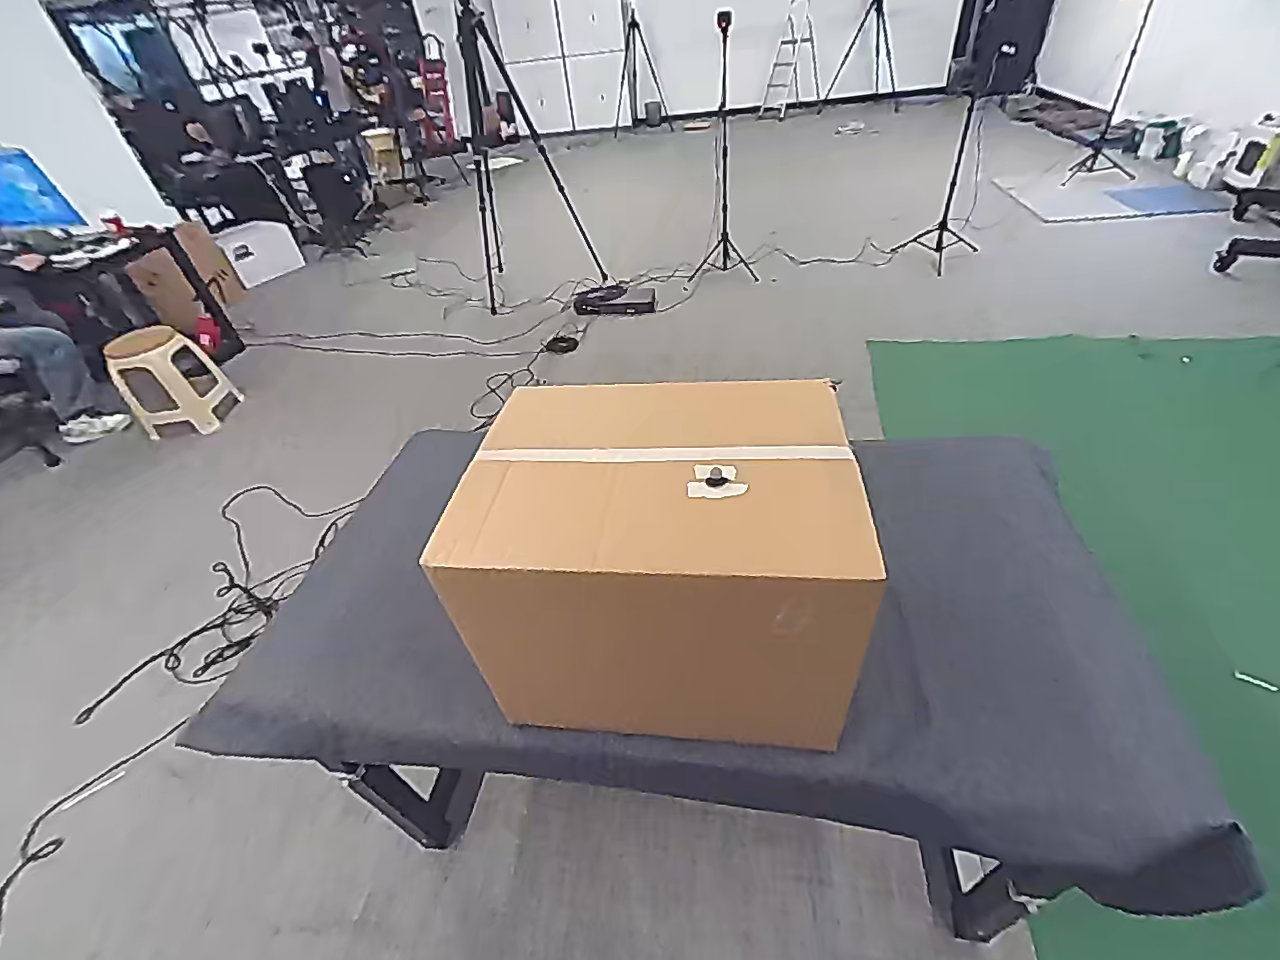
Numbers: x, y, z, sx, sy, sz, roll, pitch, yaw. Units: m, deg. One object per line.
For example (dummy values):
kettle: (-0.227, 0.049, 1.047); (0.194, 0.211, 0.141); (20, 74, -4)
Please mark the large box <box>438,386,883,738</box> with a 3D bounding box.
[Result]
large box: (0.034, 0.094, 0.678); (0.408, 0.320, 0.320); (0, 40, 9)
